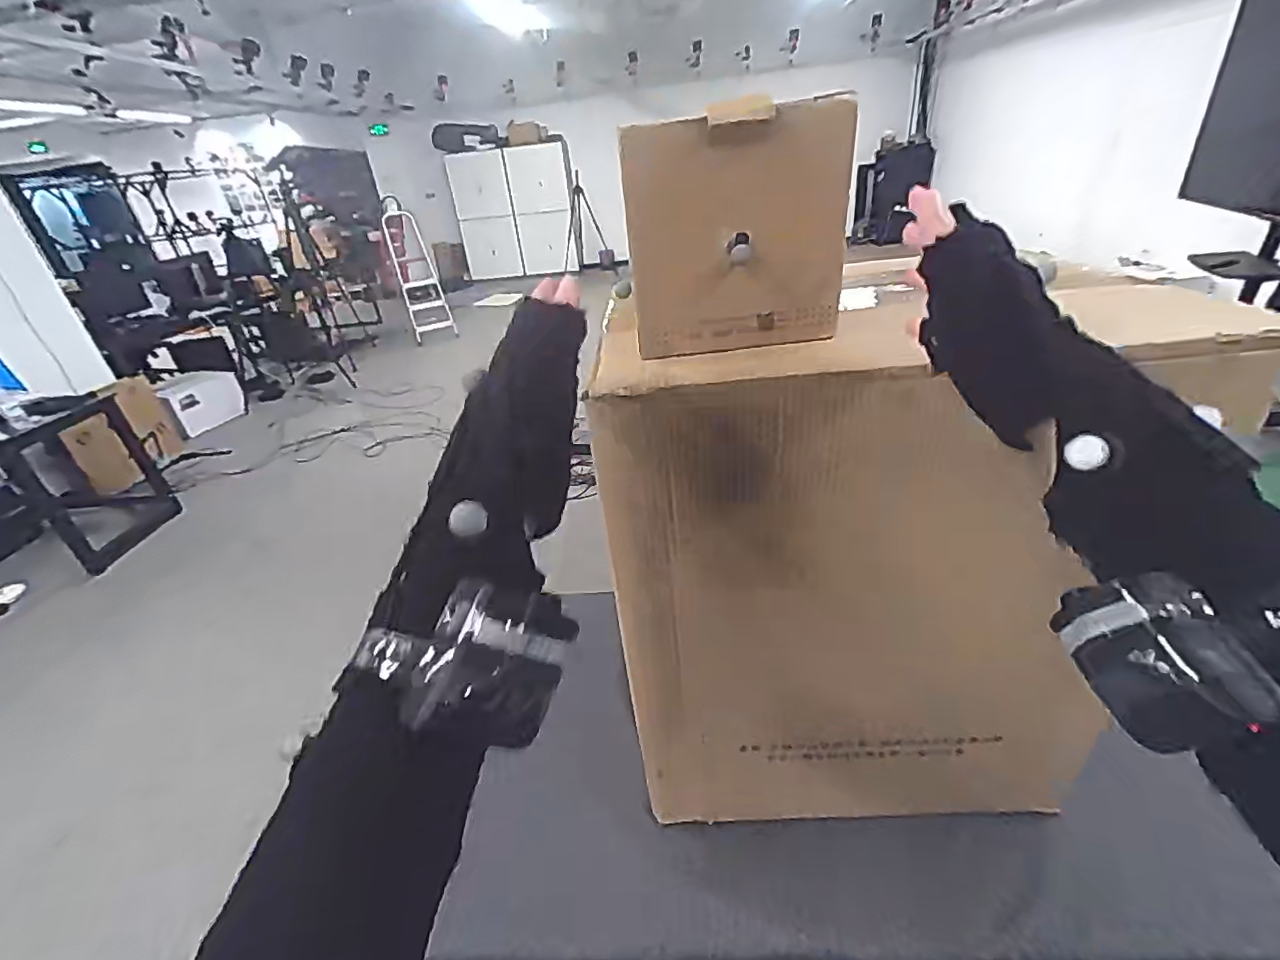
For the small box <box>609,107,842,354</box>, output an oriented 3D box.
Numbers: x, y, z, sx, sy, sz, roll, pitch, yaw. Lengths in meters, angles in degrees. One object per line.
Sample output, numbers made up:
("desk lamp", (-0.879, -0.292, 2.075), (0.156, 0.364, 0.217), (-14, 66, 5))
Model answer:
("small box", (0.067, -0.219, 0.484), (0.168, 0.176, 0.179), (-7, 33, 2))
